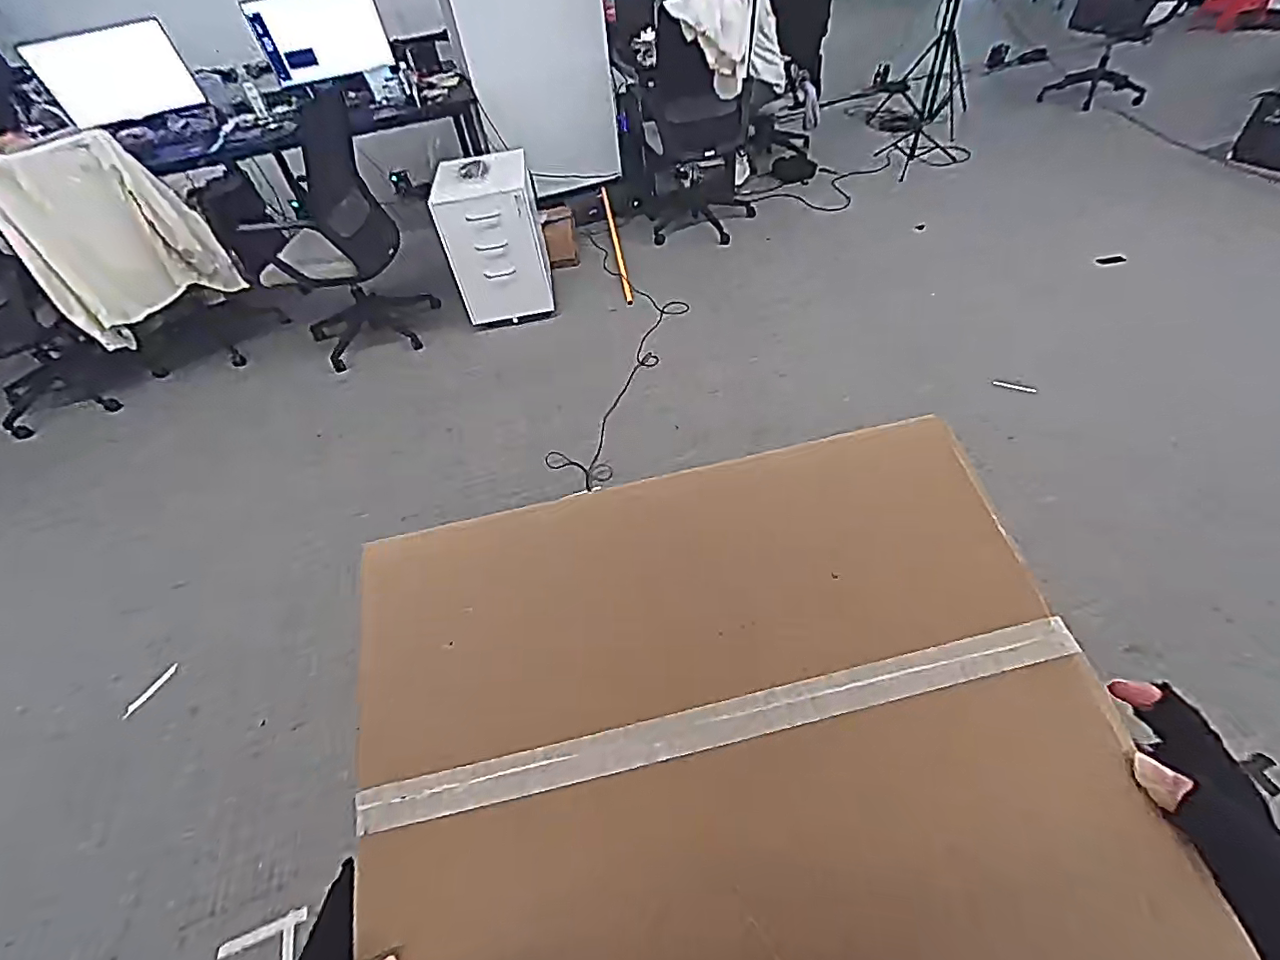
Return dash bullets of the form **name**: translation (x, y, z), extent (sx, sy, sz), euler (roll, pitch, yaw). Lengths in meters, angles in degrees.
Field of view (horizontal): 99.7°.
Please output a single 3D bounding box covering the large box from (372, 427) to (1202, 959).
- **large box**: translation (0.055, 0.203, 0.445), extent (0.408, 0.320, 0.320), euler (-13, 63, -2)
